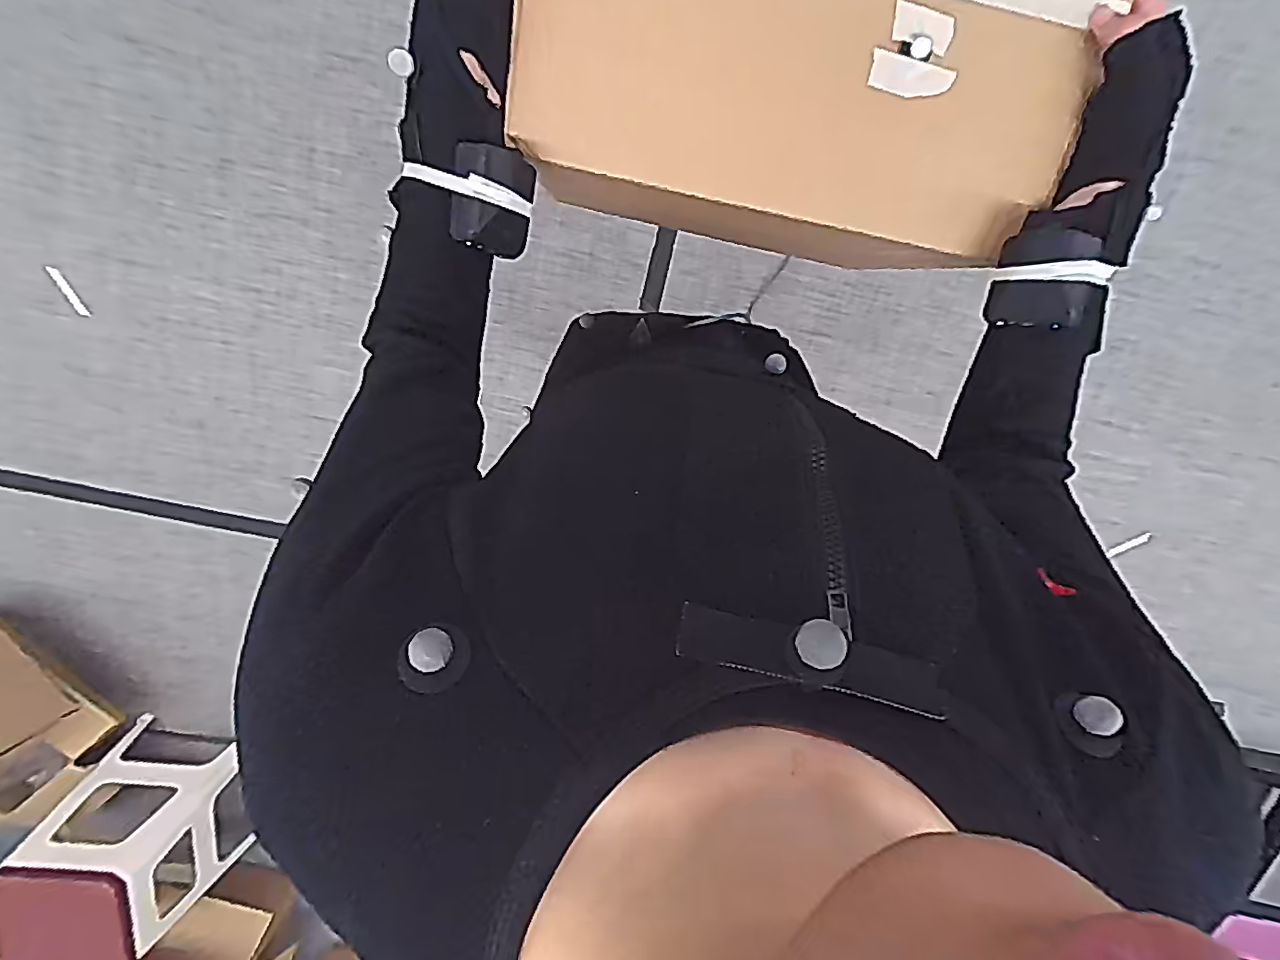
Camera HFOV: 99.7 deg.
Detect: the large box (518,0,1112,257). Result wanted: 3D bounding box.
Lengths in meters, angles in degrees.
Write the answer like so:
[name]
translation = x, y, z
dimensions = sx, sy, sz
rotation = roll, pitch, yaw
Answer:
[large box]
translation = 0.122, -0.406, 0.497
dimensions = 0.408, 0.320, 0.320
rotation = 9, 112, -7
